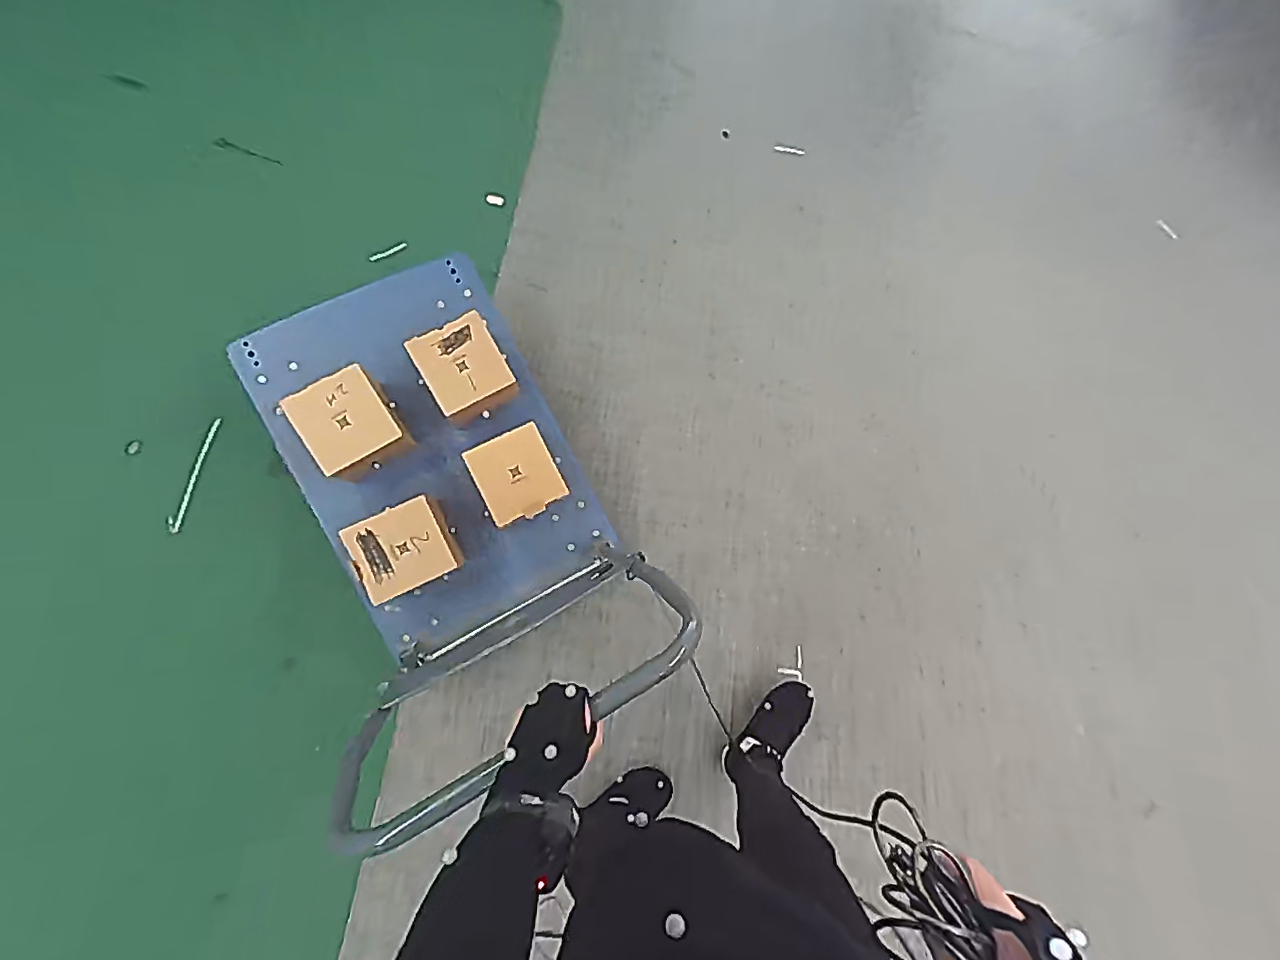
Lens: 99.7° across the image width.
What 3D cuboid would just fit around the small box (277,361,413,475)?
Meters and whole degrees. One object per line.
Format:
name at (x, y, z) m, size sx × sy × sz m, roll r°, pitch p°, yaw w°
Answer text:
small box at (-0.607, -0.121, 1.140) m, size 0.168 × 0.176 × 0.179 m, roll -32°, pitch 93°, yaw -13°

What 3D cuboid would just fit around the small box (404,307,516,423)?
small box at (-0.389, -0.246, 1.194) m, size 0.168 × 0.176 × 0.179 m, roll -30°, pitch 93°, yaw -12°

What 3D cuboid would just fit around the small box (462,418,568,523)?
small box at (-0.277, -0.016, 1.205) m, size 0.168 × 0.176 × 0.179 m, roll -27°, pitch 93°, yaw -12°
